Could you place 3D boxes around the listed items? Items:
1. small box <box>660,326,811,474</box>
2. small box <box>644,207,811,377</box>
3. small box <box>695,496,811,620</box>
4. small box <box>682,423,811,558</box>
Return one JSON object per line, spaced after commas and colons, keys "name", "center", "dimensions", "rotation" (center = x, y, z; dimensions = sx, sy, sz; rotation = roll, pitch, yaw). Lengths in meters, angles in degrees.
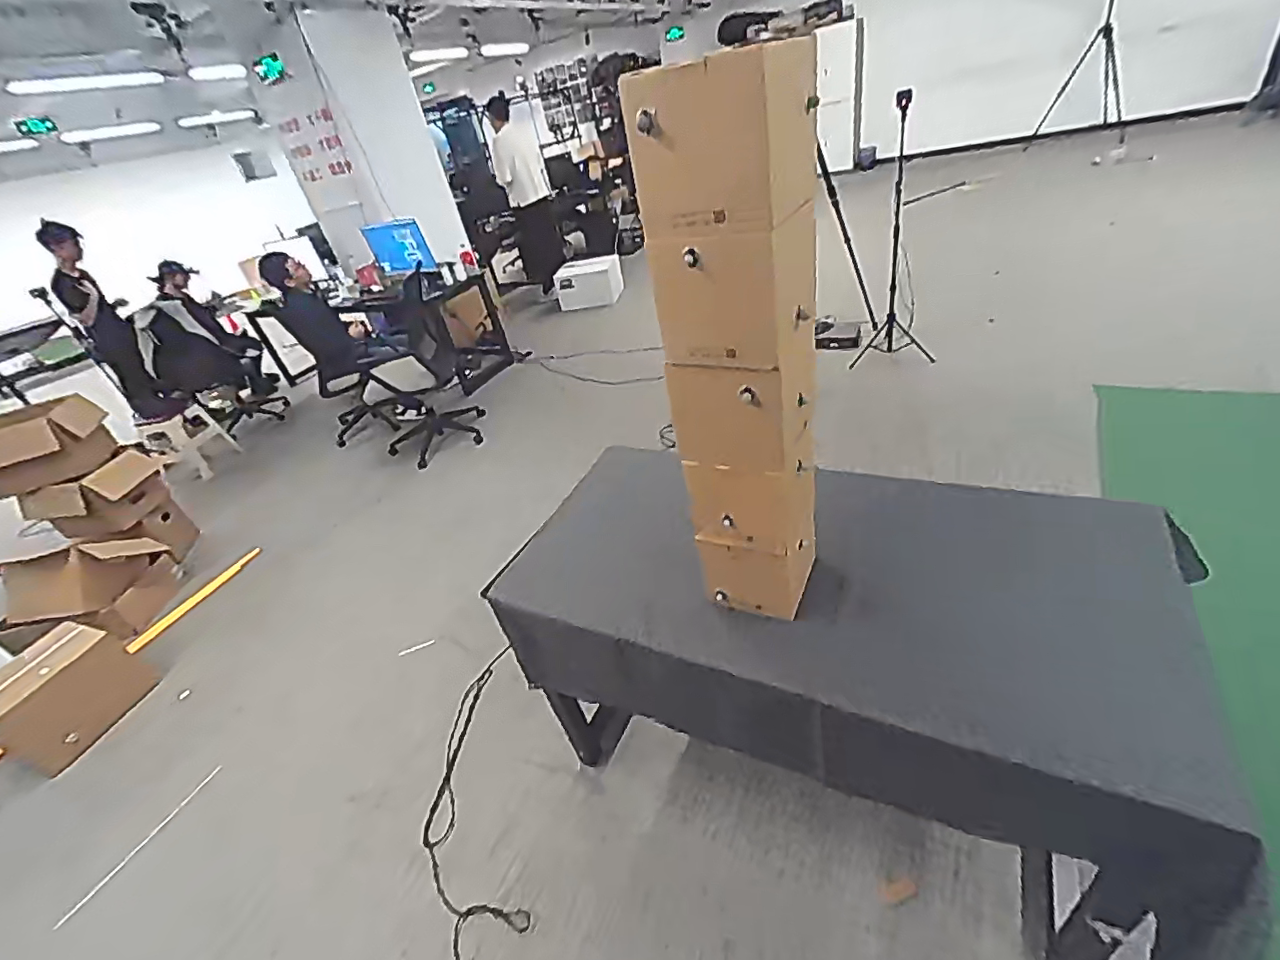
{"name": "small box", "center": [0.156, -0.126, 0.833], "dimensions": [0.179, 0.176, 0.168], "rotation": [9, 40, 30]}
{"name": "small box", "center": [0.127, -0.257, 0.739], "dimensions": [0.168, 0.176, 0.179], "rotation": [10, 41, 31]}
{"name": "small box", "center": [0.221, 0.135, 1.018], "dimensions": [0.168, 0.176, 0.179], "rotation": [8, 38, 29]}
{"name": "small box", "center": [0.189, 0.005, 0.927], "dimensions": [0.168, 0.176, 0.179], "rotation": [8, 40, 29]}
